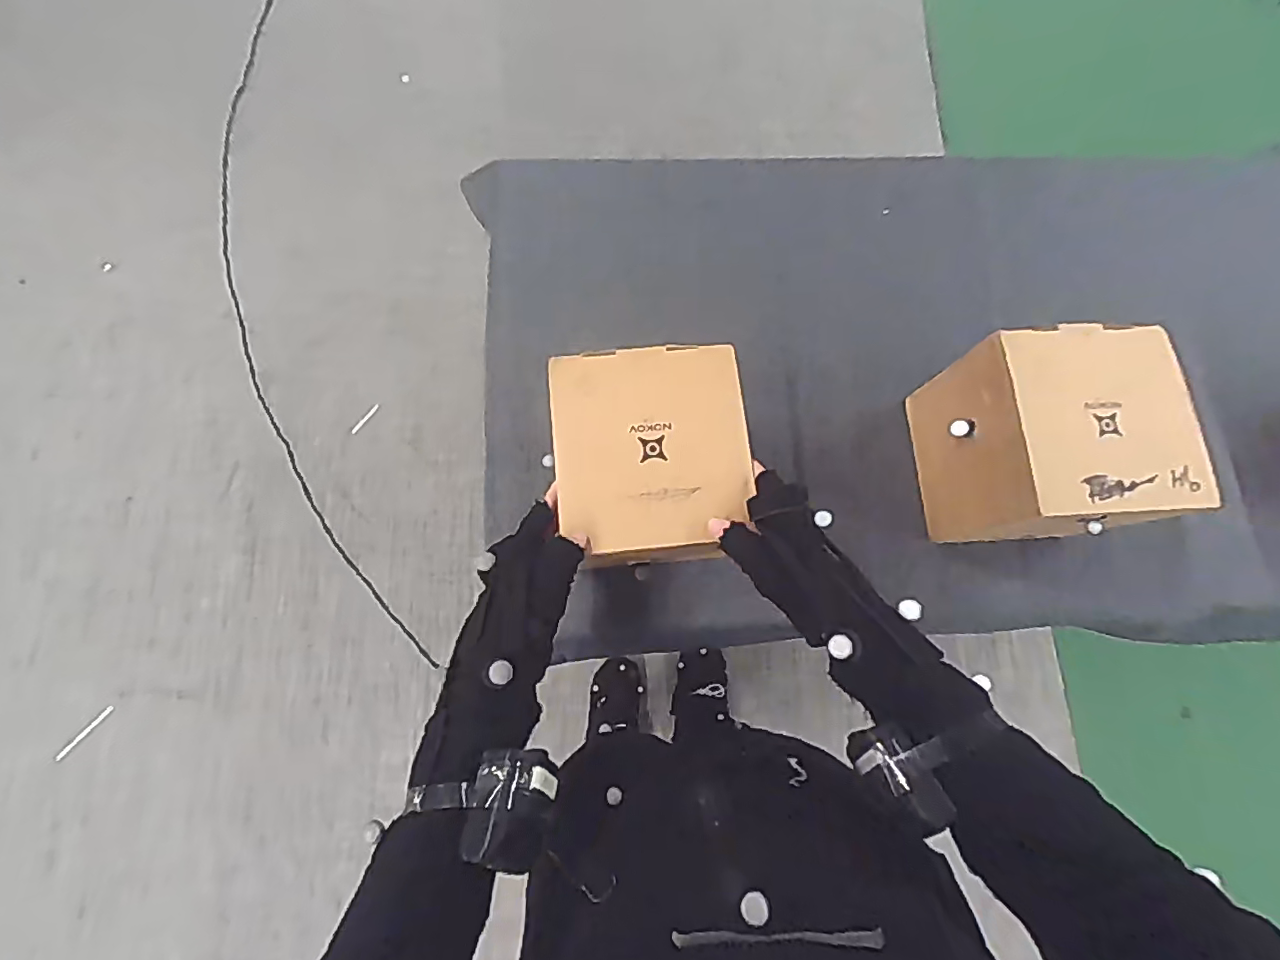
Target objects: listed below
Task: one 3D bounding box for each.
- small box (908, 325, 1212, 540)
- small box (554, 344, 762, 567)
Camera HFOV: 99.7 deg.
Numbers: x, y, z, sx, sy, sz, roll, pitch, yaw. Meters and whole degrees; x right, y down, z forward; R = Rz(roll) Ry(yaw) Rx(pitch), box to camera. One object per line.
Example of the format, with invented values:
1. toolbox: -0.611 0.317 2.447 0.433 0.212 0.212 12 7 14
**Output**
1. small box: 0.407 -0.040 0.563 0.168 0.176 0.179 -3 75 -3
2. small box: 0.008 -0.014 0.537 0.168 0.176 0.179 -6 78 -3
